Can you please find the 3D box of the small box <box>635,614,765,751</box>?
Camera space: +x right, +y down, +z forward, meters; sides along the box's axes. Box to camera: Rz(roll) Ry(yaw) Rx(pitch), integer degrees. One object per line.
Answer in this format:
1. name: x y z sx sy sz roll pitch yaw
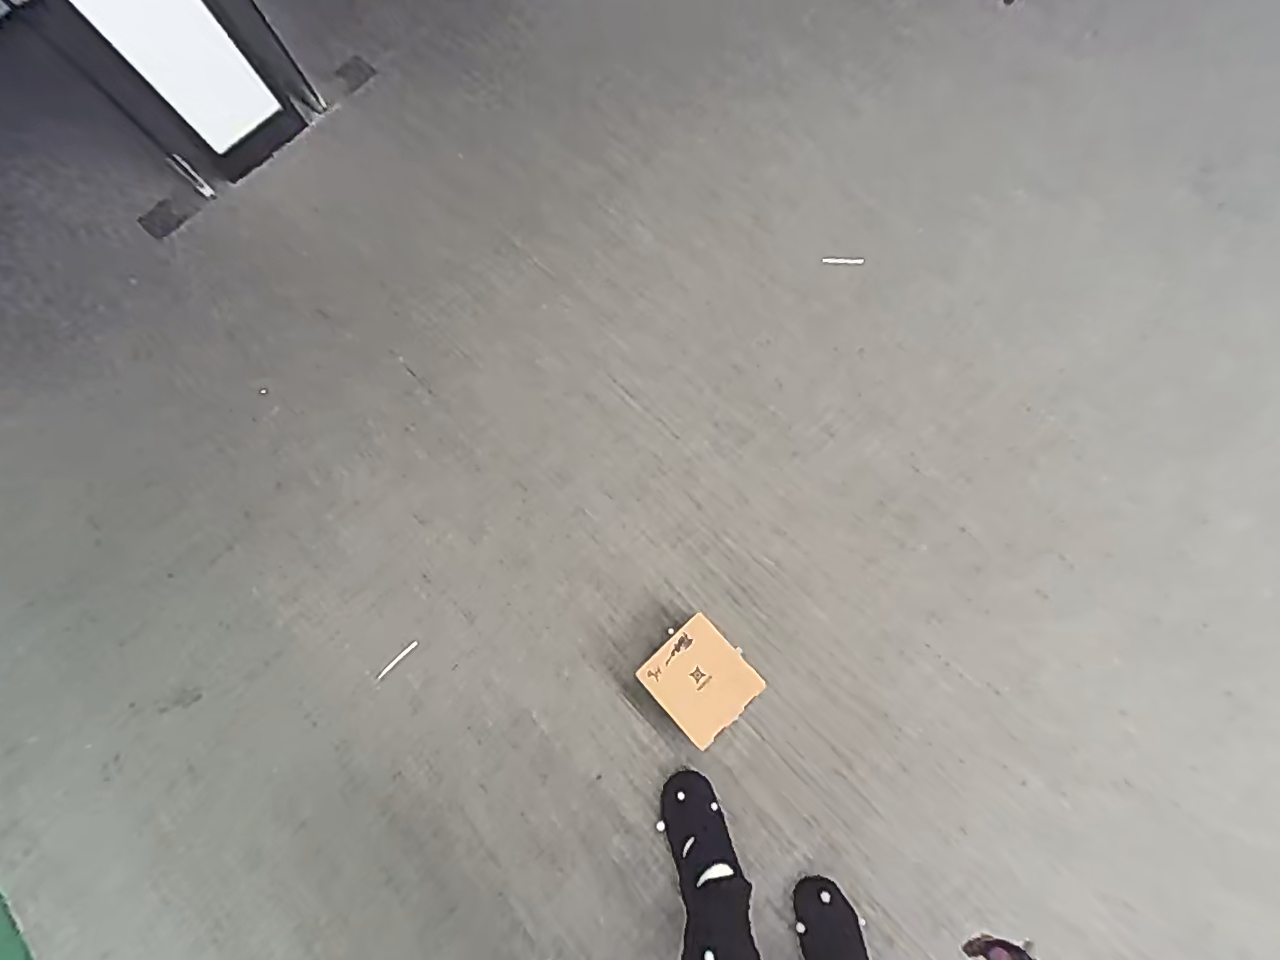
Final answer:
1. small box: 0.112 0.378 1.040 0.168 0.176 0.179 -42 75 -8
